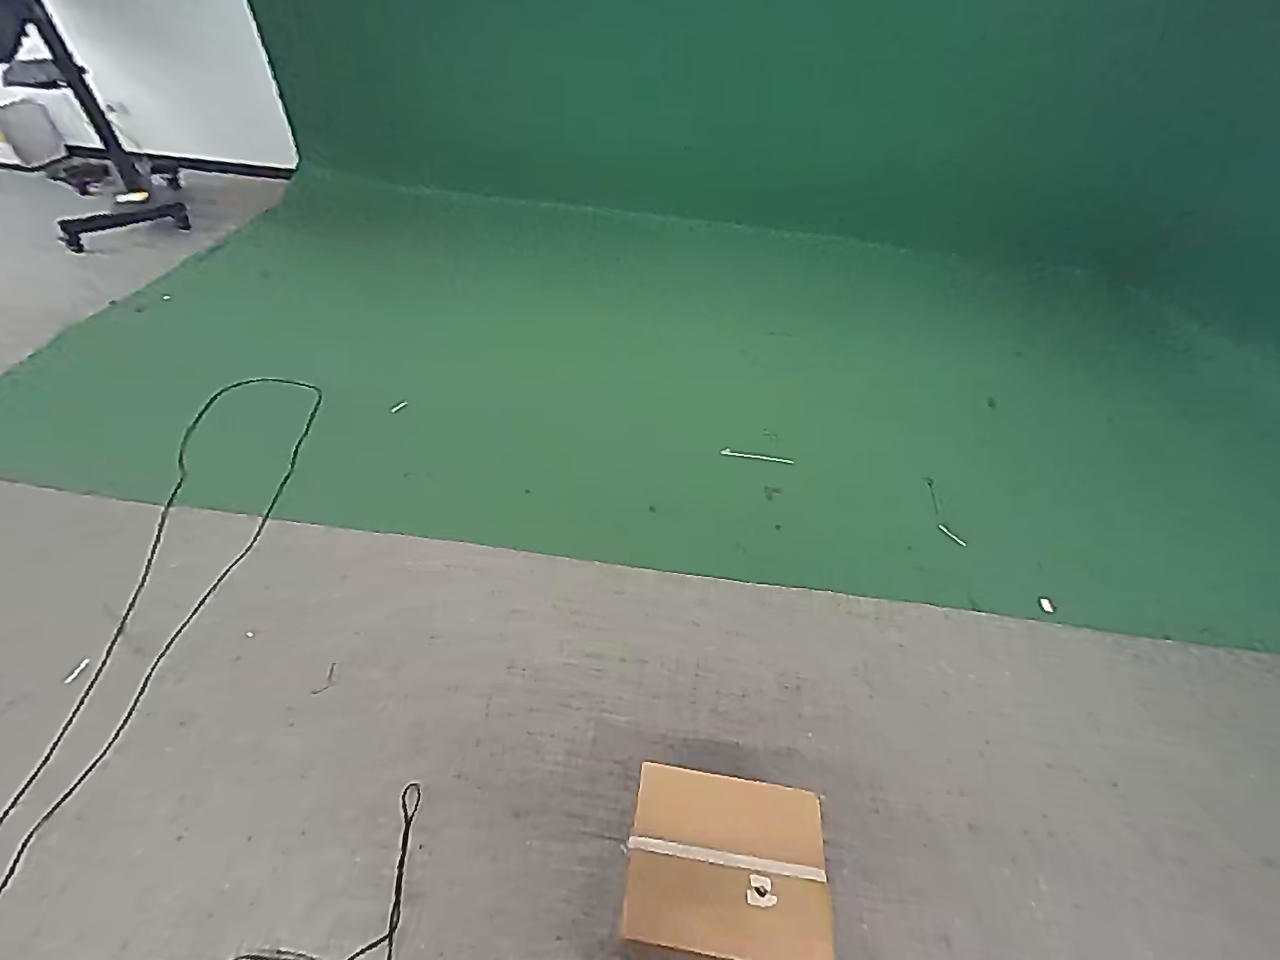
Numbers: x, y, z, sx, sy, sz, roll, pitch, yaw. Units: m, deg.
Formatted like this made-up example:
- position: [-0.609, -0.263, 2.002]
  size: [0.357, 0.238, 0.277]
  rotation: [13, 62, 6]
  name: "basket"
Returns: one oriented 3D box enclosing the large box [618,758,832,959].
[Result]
- position: [0.171, 0.870, 1.225]
  size: [0.408, 0.320, 0.320]
  rotation: [9, 47, 2]
  name: "large box"
